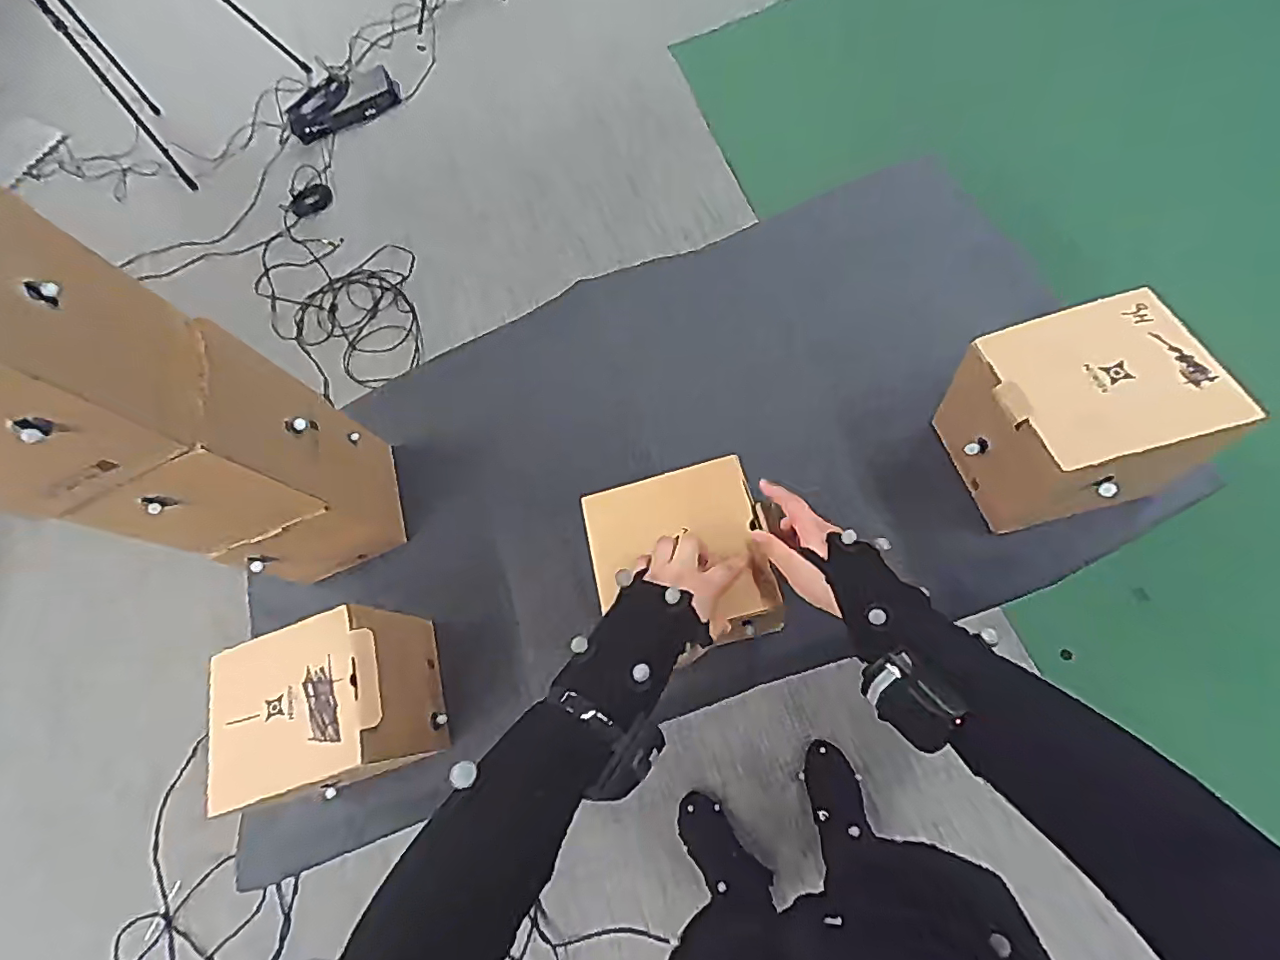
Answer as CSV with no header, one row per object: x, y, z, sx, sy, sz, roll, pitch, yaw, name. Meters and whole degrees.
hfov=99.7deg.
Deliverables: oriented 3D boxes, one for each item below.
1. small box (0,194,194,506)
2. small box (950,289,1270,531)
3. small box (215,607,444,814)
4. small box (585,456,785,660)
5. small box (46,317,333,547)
-0.521,-0.094,0.455,0.168,0.176,0.179,-24,66,1,small box
0.460,-0.062,0.576,0.179,0.176,0.168,-16,62,7,small box
-0.352,0.262,0.639,0.179,0.176,0.168,-21,67,5,small box
0.055,0.099,0.614,0.179,0.176,0.168,-16,66,6,small box
-0.482,-0.040,0.604,0.179,0.176,0.168,-21,67,3,small box
